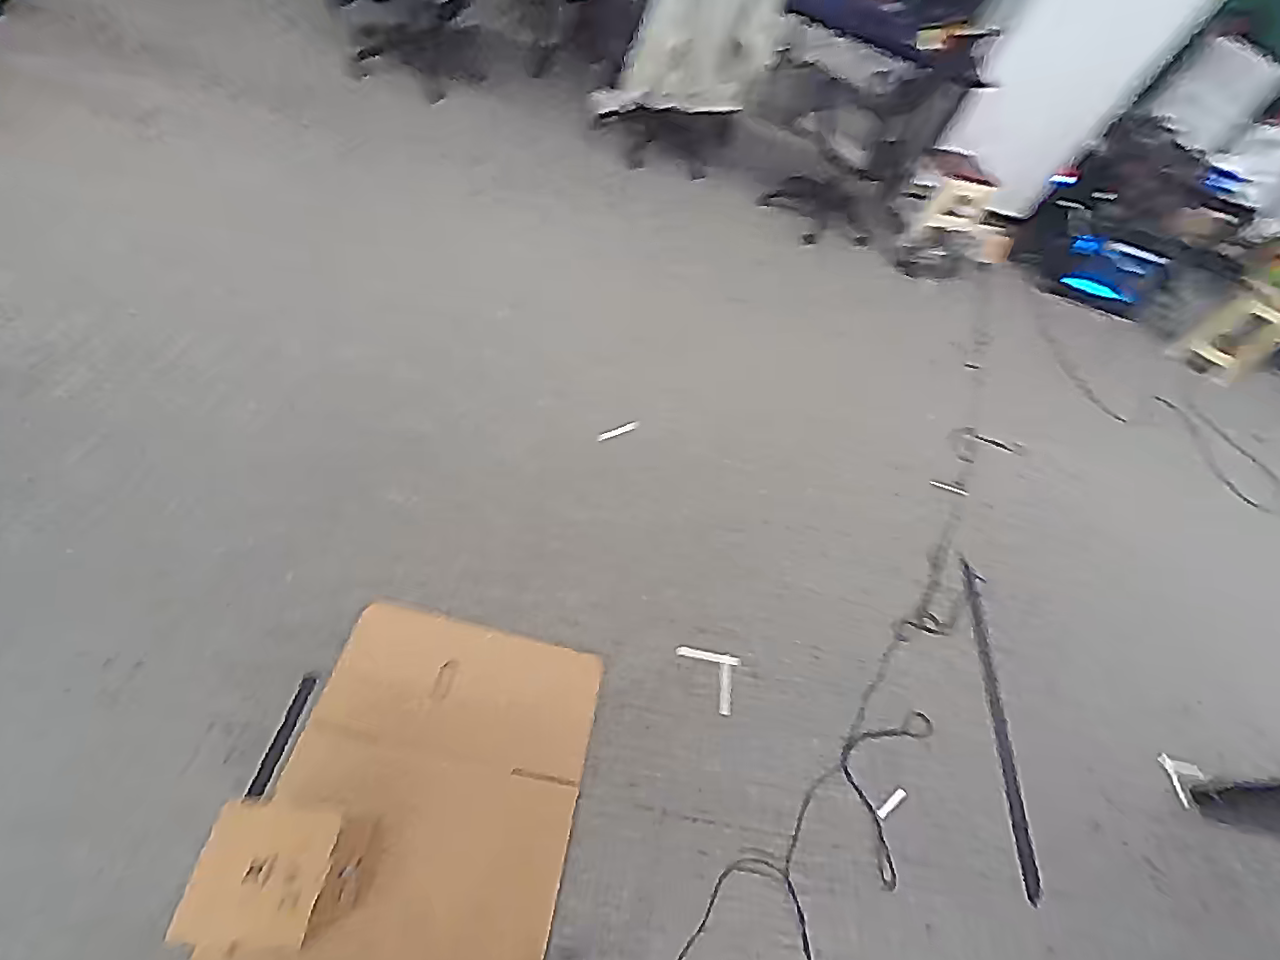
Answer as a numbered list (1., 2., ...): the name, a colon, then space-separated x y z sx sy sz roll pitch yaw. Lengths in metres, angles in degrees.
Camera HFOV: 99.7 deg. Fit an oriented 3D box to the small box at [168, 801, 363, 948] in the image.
1. small box: -0.560 0.607 0.843 0.179 0.176 0.168 11 56 -10
